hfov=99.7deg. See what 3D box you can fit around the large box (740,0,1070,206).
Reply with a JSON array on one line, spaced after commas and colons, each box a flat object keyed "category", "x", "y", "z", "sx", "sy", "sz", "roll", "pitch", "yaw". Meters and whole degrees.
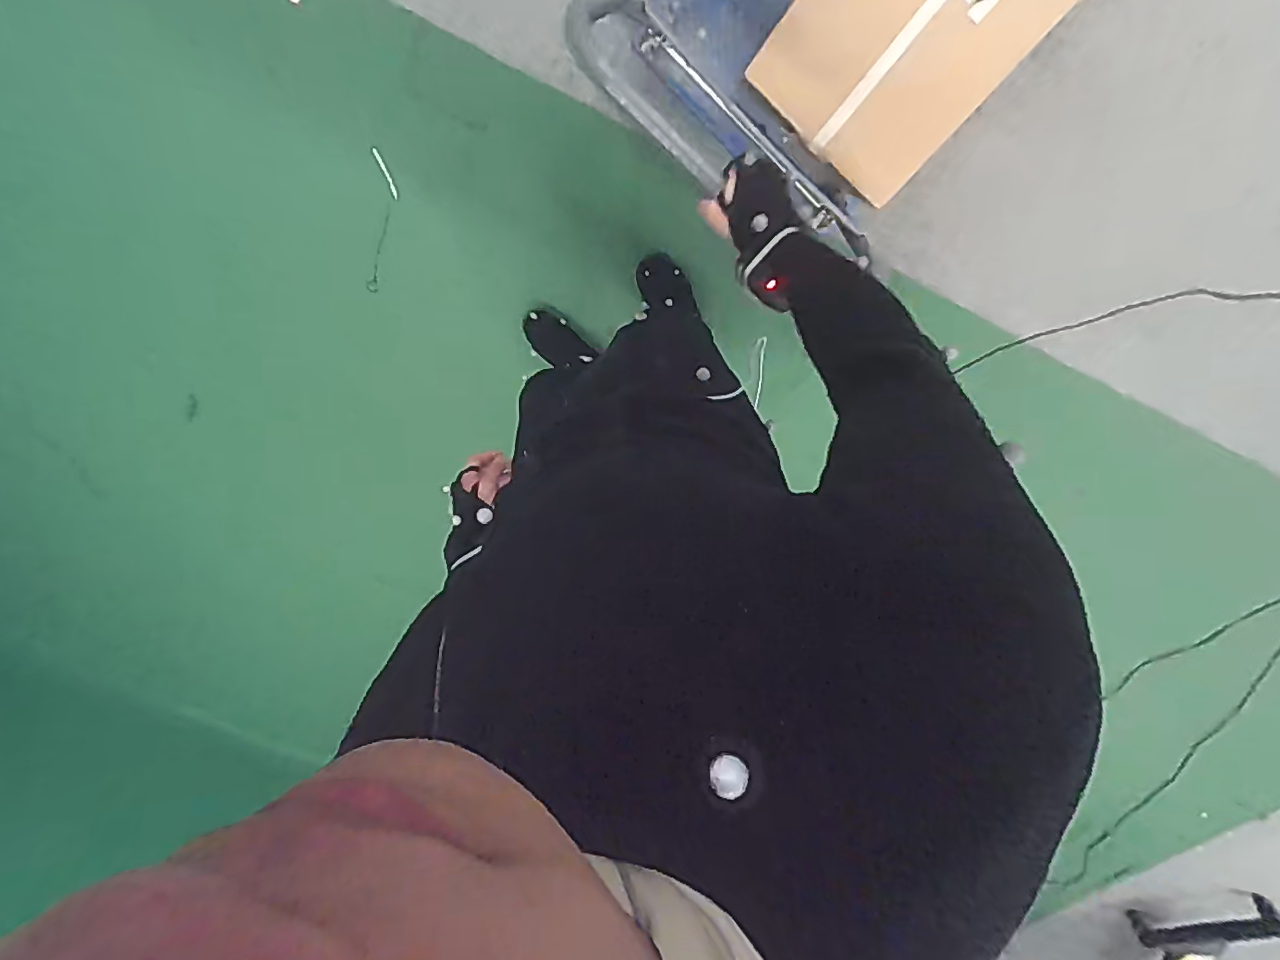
[{"category": "large box", "x": 0.413, "y": -0.747, "z": 0.898, "sx": 0.320, "sy": 0.320, "sz": 0.408, "roll": 35, "pitch": 121, "yaw": -16}]
